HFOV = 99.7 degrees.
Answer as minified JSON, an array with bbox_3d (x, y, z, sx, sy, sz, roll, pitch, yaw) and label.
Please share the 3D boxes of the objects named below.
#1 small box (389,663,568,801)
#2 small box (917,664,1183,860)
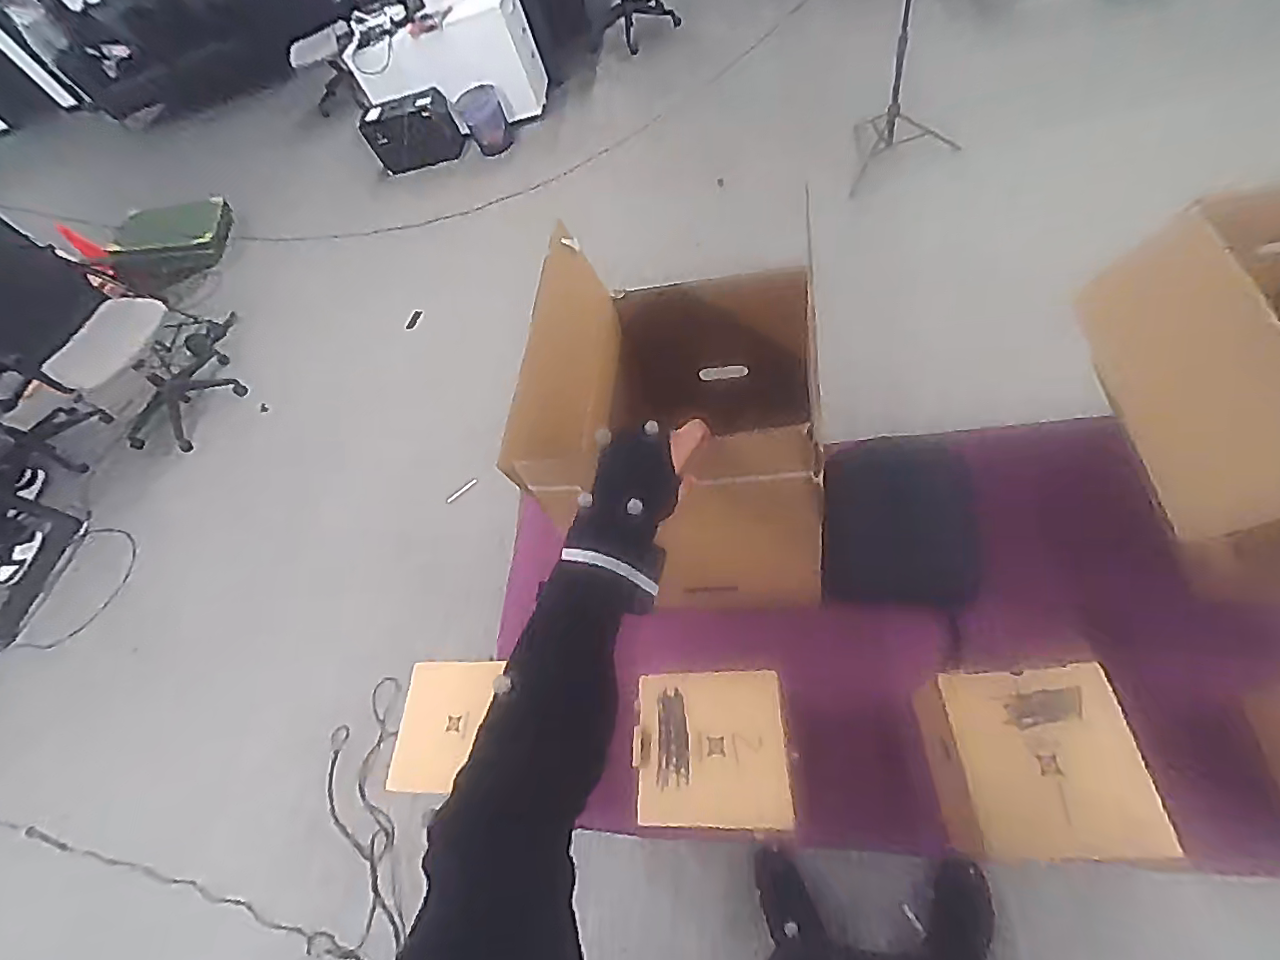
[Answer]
[{"bbox_3d":[-0.223,0.371,0.793,0.179,0.176,0.168,-5,59,13],"label":"small box"},{"bbox_3d":[0.437,0.323,0.619,0.168,0.176,0.179,-9,59,12],"label":"small box"}]
